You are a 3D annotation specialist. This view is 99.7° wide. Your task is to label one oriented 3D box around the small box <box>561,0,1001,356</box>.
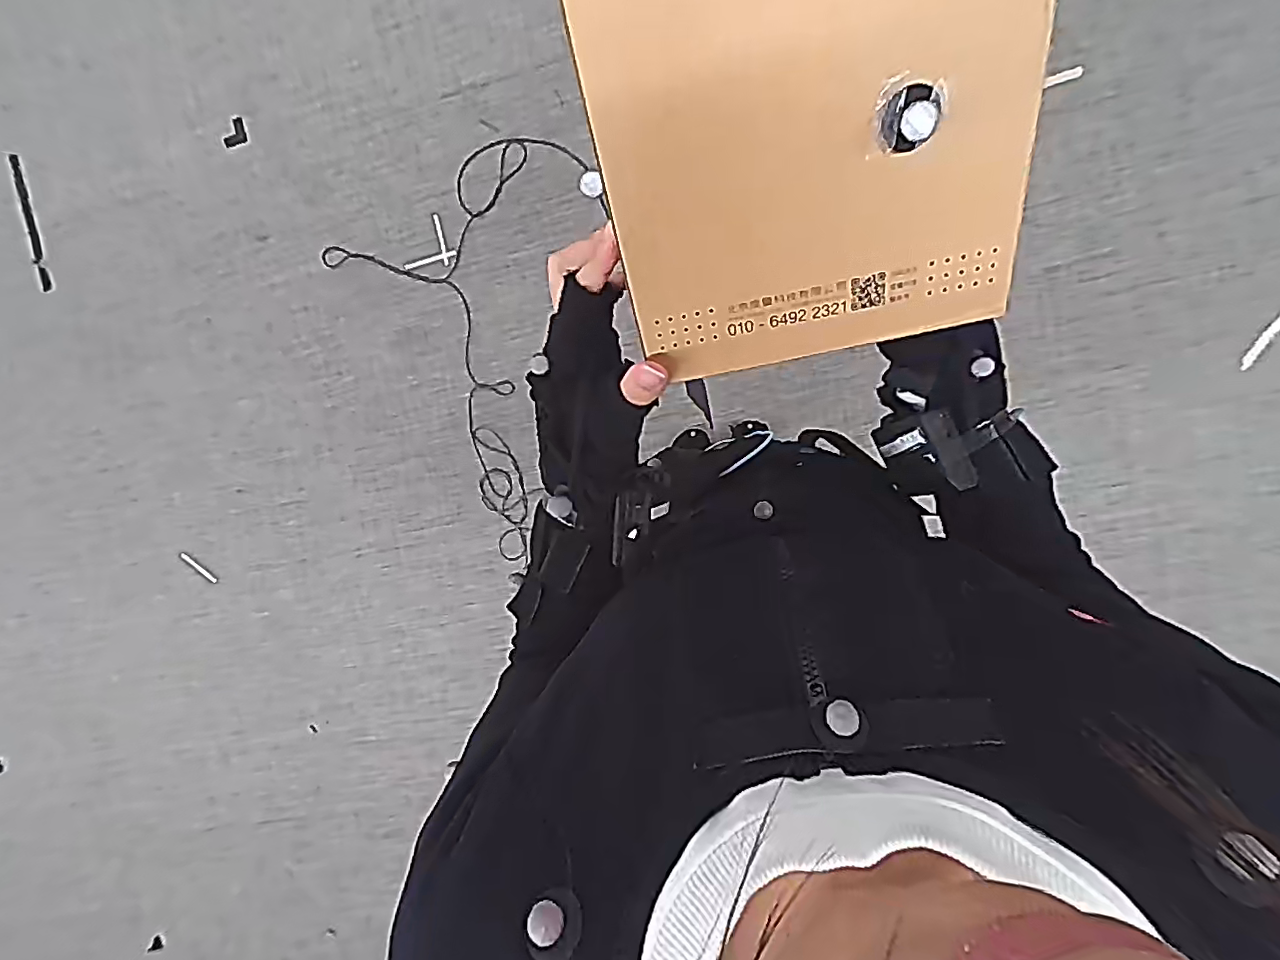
[{"bbox_3d":[0.071,-0.180,0.297,0.168,0.179,0.176,-9,125,9],"label":"small box"}]
